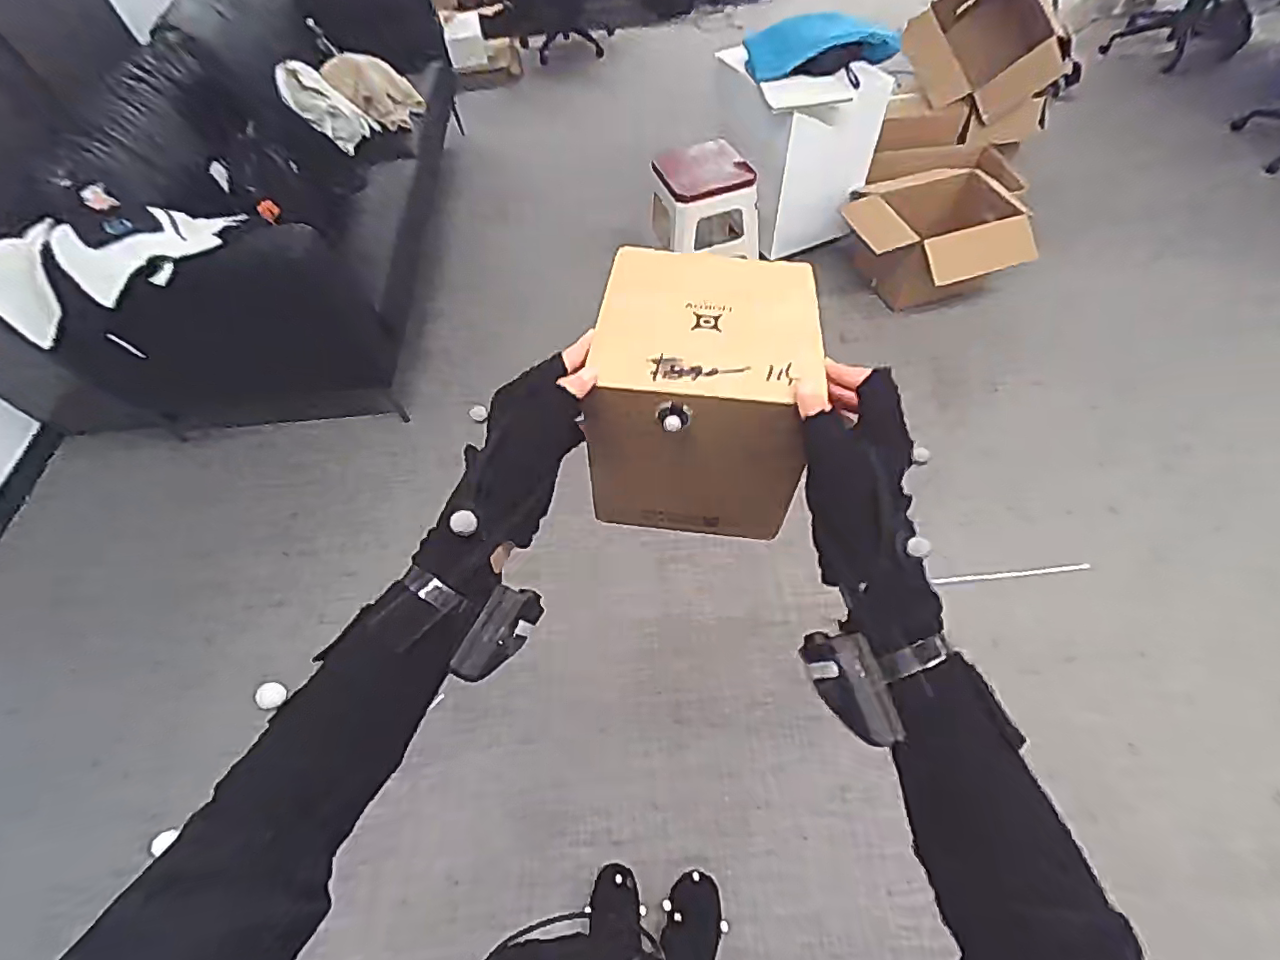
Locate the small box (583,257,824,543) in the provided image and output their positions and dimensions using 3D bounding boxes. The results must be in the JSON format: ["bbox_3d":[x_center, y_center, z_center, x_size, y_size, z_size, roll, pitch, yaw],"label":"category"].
[{"bbox_3d":[0.052,-0.069,0.474,0.168,0.176,0.179,6,50,5],"label":"small box"}]
